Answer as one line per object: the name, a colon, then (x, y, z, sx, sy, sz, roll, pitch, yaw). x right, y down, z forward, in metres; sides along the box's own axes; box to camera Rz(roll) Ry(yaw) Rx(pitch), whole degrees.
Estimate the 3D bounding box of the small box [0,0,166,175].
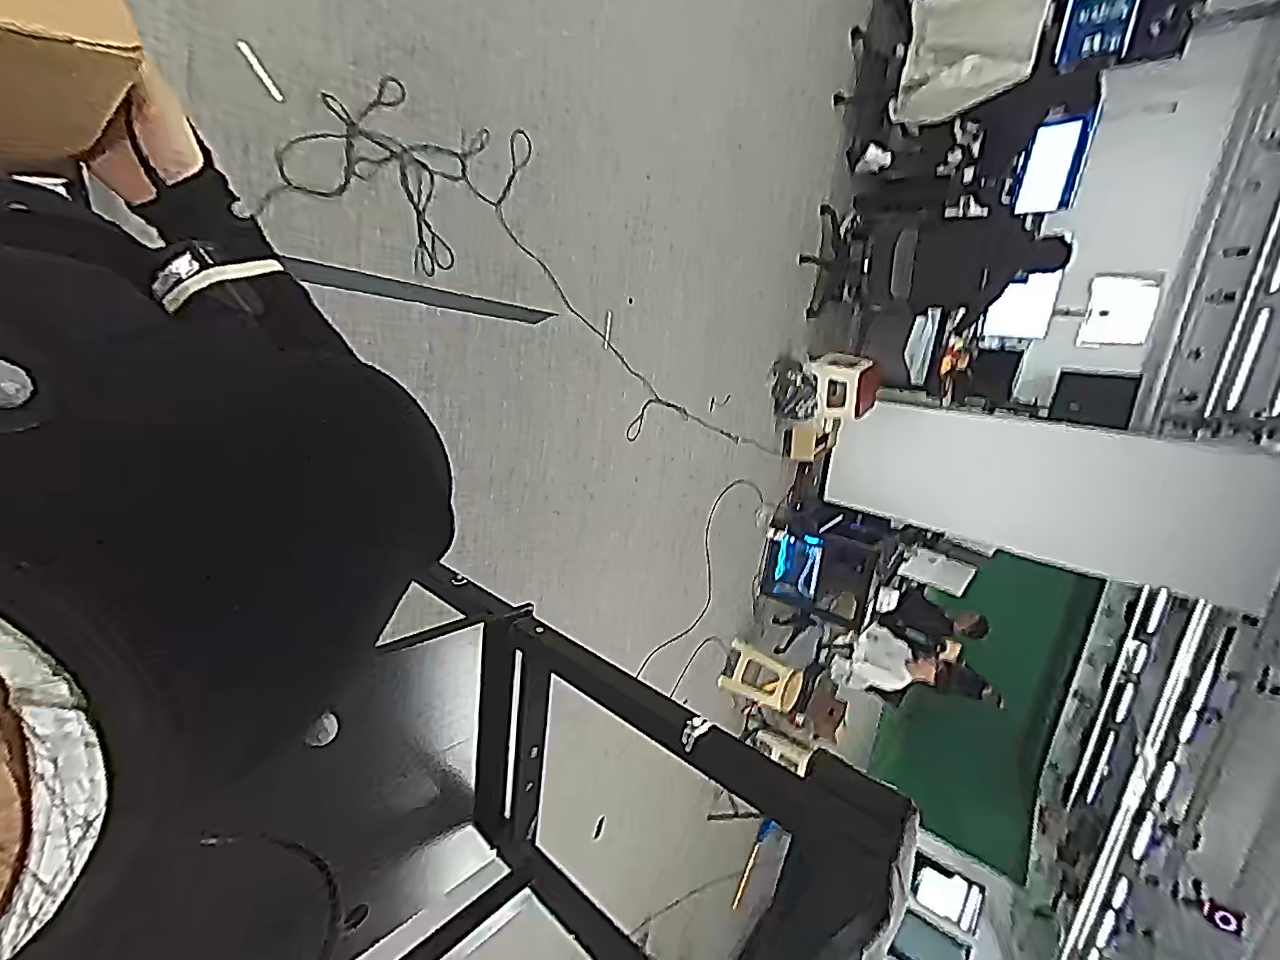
small box: (-0.393, -0.278, 0.258, 0.168, 0.176, 0.179, -37, 116, -53)
